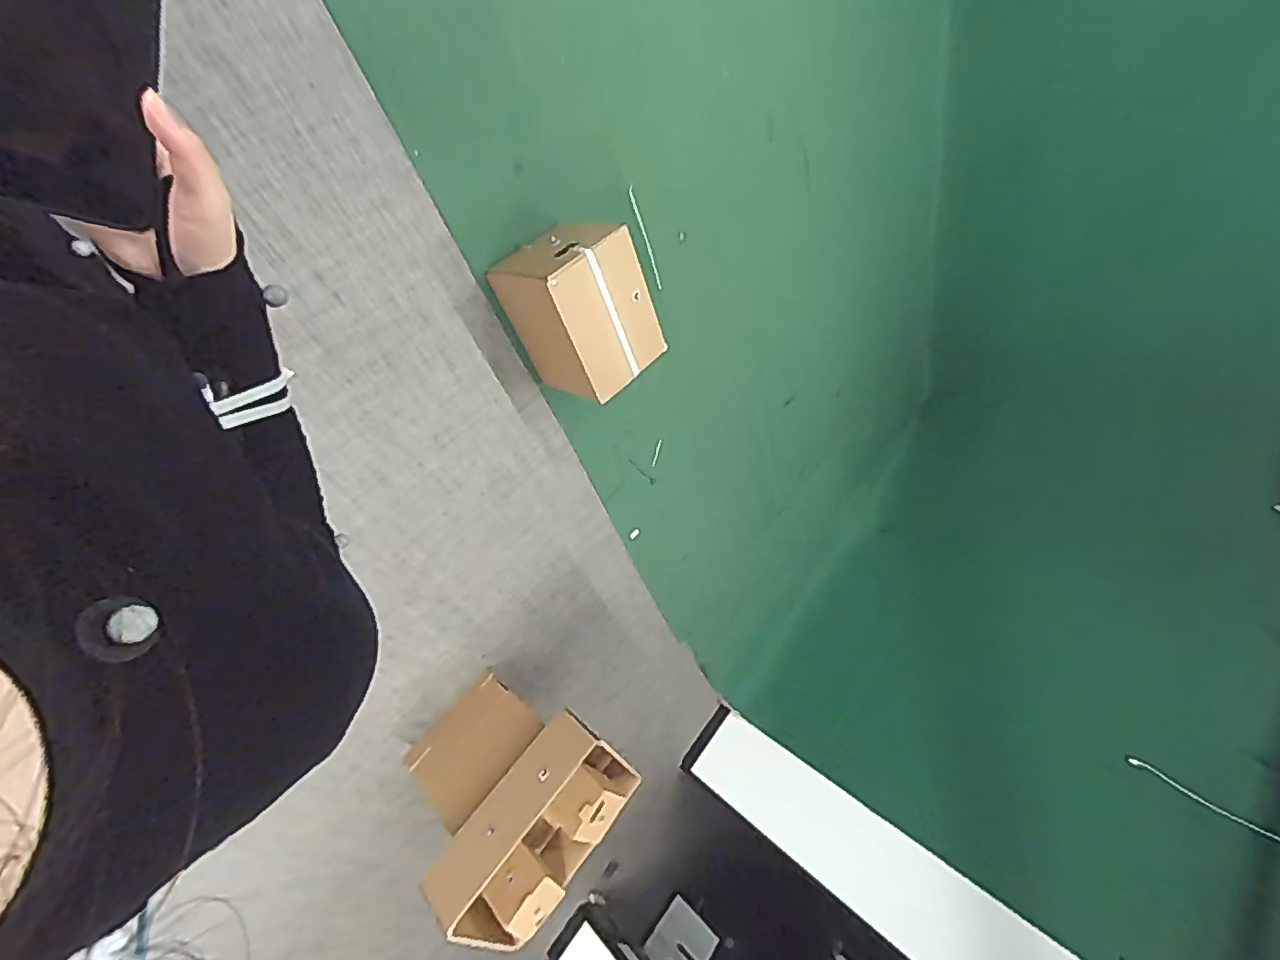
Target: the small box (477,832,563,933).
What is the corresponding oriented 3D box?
[{"bbox_3d":[-0.375,1.238,1.675,0.168,0.176,0.179,-40,132,-26],"label":"small box"}]
